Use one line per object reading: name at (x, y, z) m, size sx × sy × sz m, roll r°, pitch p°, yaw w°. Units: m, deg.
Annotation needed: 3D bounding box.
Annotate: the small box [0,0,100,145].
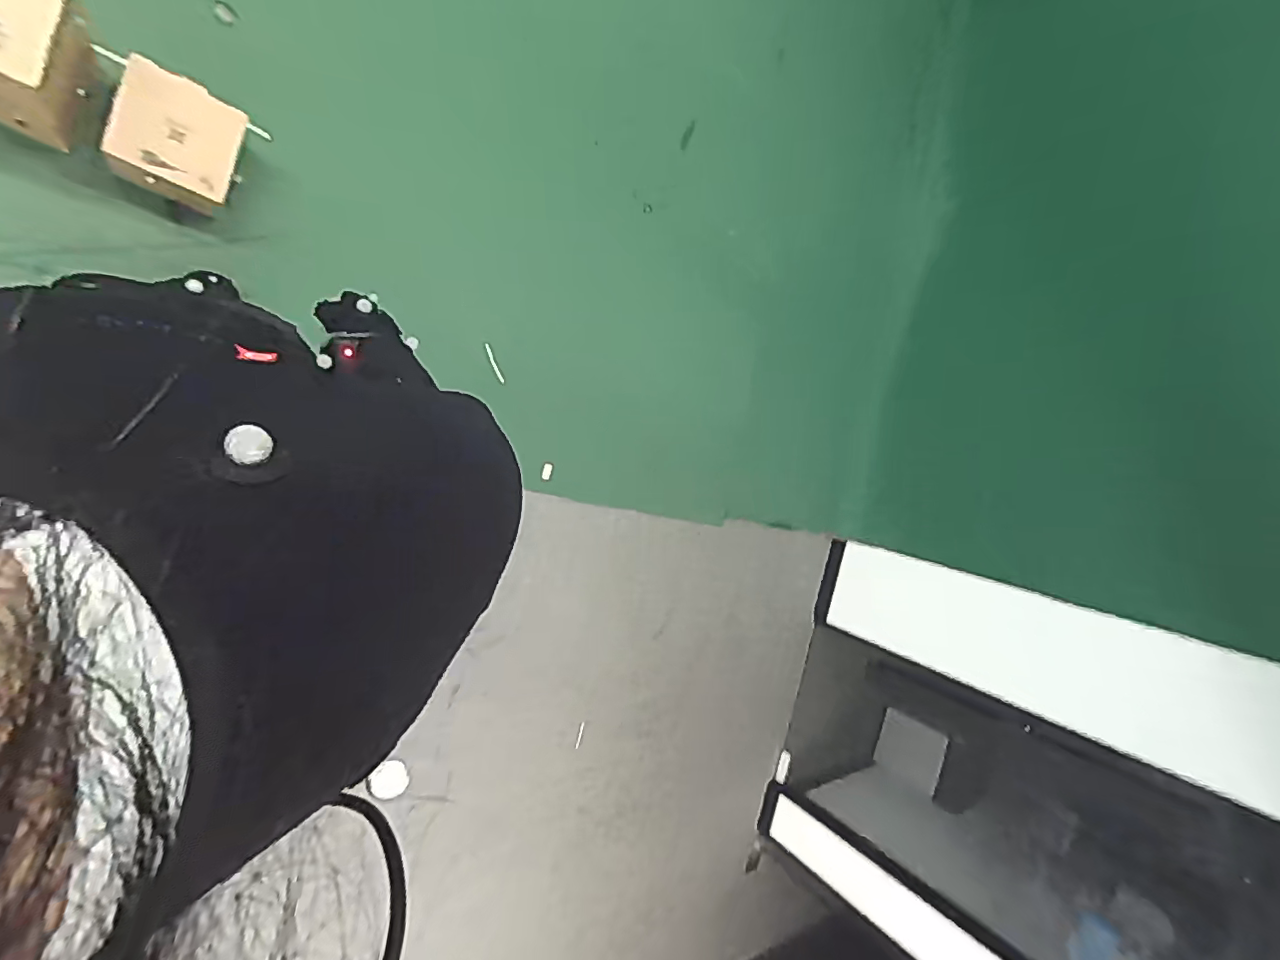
small box at (-1.014, -0.684, 0.871) m, size 0.168 × 0.176 × 0.179 m, roll 20°, pitch 89°, yaw -41°
